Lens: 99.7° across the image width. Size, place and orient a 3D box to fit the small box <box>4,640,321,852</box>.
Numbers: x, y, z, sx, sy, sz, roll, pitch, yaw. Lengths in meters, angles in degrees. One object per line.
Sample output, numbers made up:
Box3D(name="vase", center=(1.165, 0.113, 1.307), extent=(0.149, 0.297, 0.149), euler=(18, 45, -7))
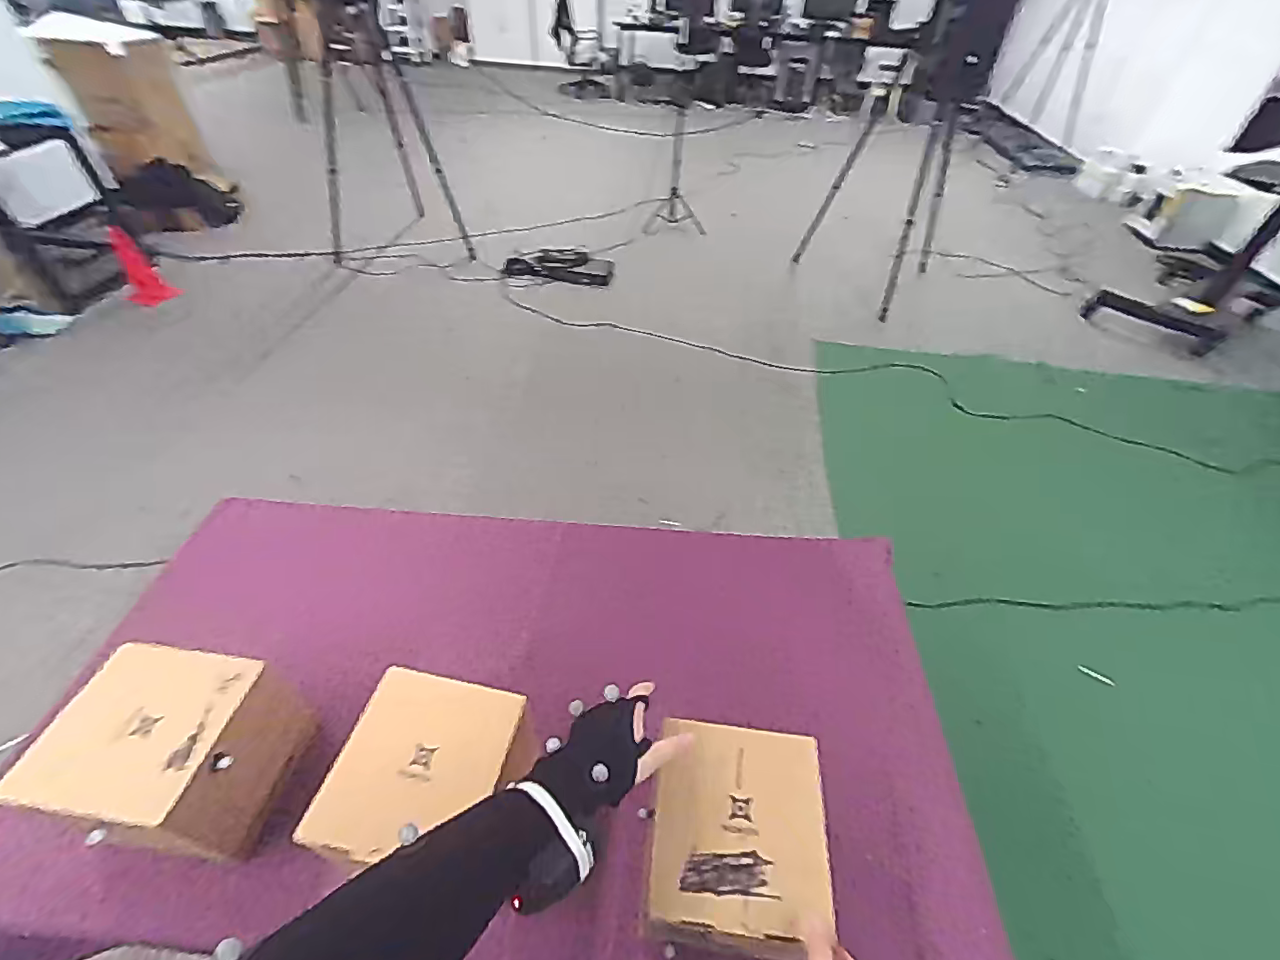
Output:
Box3D(name="small box", center=(-0.519, 0.308, 0.624), extent=(0.179, 0.176, 0.168), euler=(7, 46, 4))

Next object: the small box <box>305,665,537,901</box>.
Box3D(name="small box", center=(-0.223, 0.342, 0.611), extent=(0.168, 0.176, 0.179), euler=(10, 47, 7))

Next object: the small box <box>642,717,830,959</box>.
Box3D(name="small box", center=(0.093, 0.385, 0.581), extent=(0.168, 0.176, 0.179), euler=(7, 45, 4))
